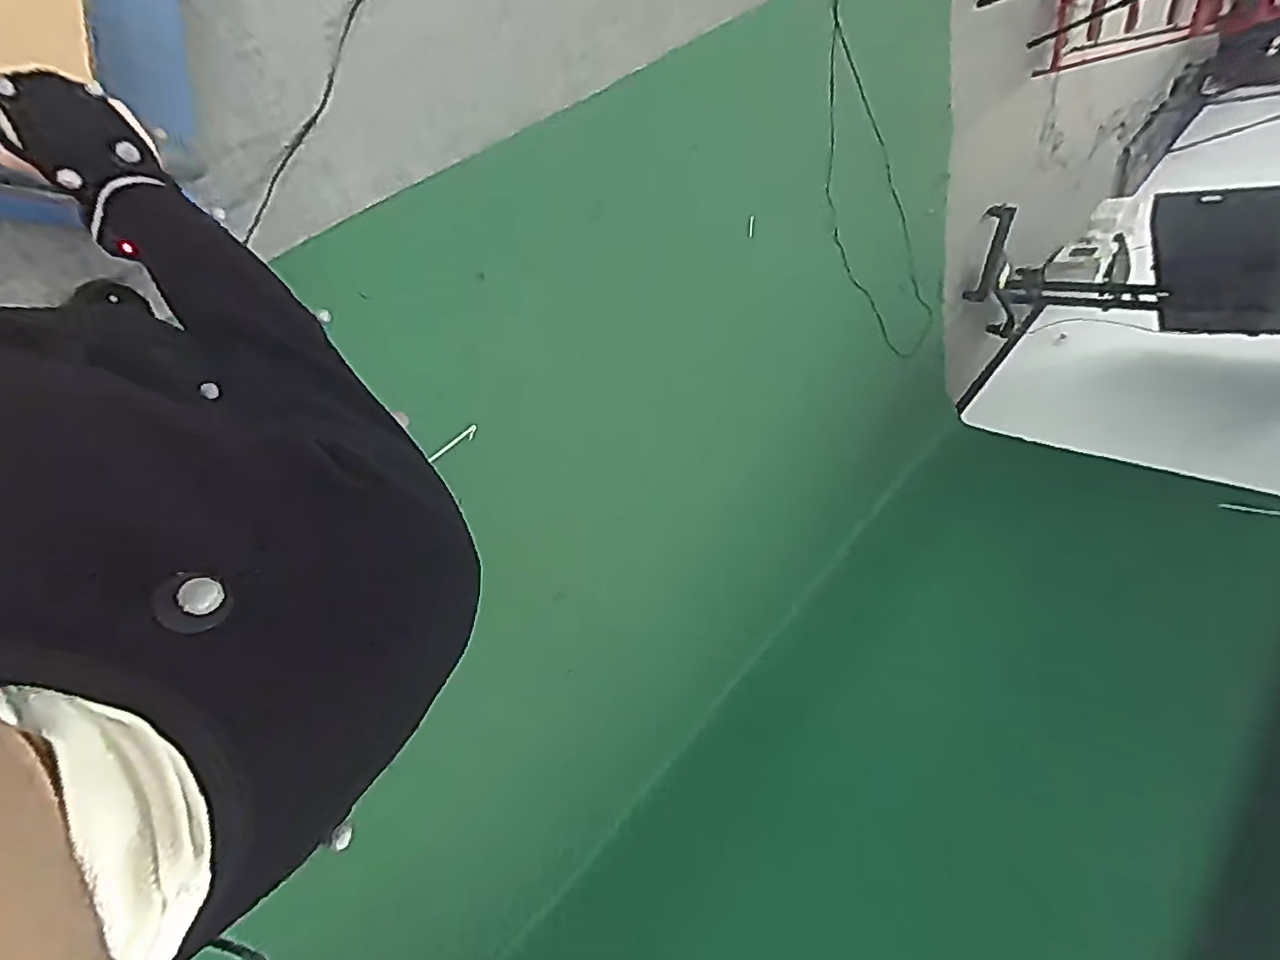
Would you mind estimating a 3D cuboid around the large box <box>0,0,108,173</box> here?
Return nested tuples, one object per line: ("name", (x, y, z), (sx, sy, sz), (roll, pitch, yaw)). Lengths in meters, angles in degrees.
("large box", (-0.957, -0.681, 0.717), (0.320, 0.320, 0.408), (-6, 110, -41))
